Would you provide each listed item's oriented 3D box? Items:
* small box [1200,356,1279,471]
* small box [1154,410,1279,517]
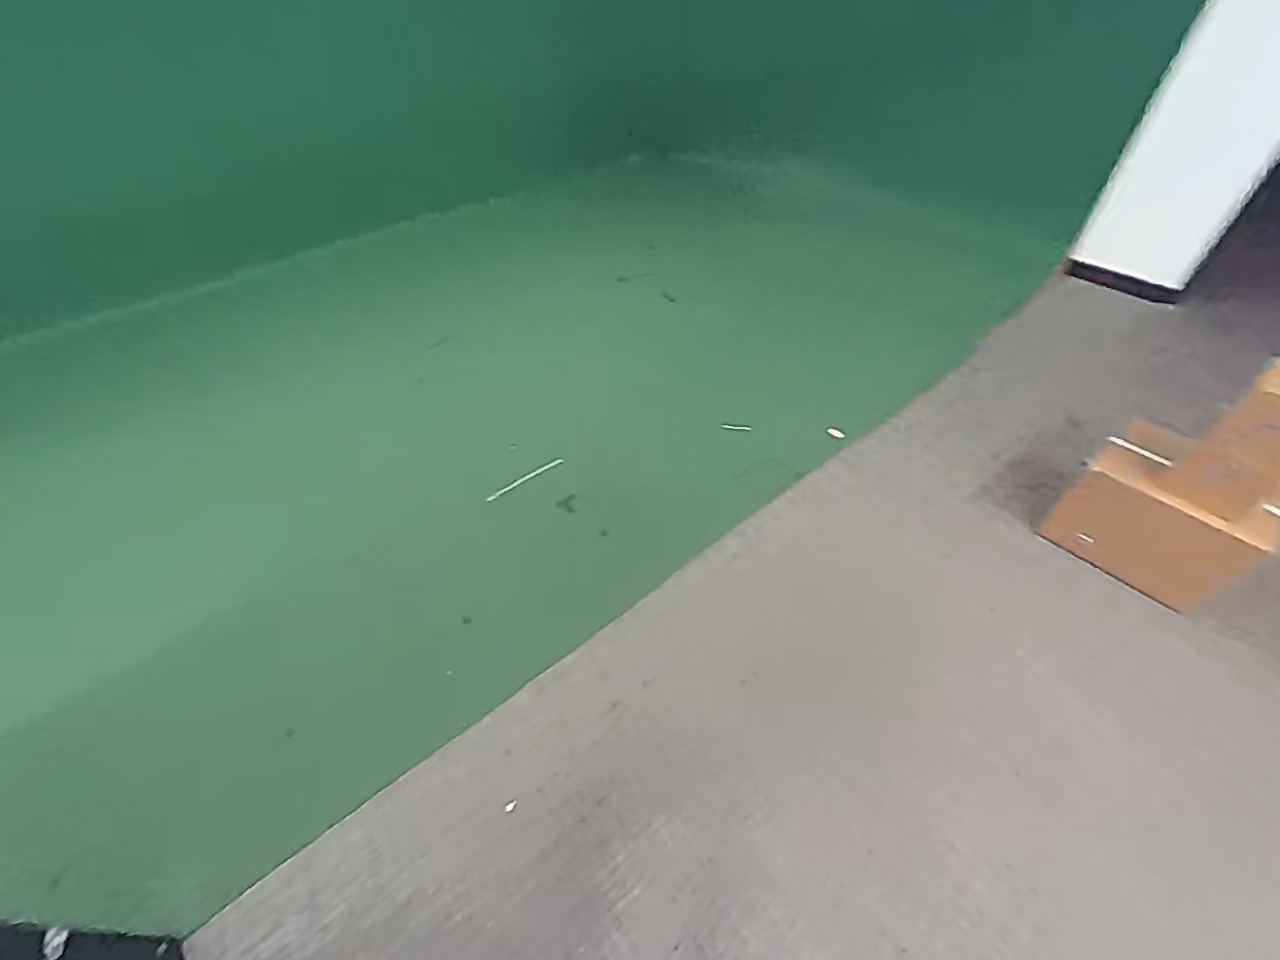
[{"bbox_3d":[1.457,-0.144,1.226,0.168,0.176,0.179,-35,55,-23],"label":"small box"},{"bbox_3d":[1.460,-0.039,1.352,0.168,0.176,0.179,-33,55,-22],"label":"small box"}]
